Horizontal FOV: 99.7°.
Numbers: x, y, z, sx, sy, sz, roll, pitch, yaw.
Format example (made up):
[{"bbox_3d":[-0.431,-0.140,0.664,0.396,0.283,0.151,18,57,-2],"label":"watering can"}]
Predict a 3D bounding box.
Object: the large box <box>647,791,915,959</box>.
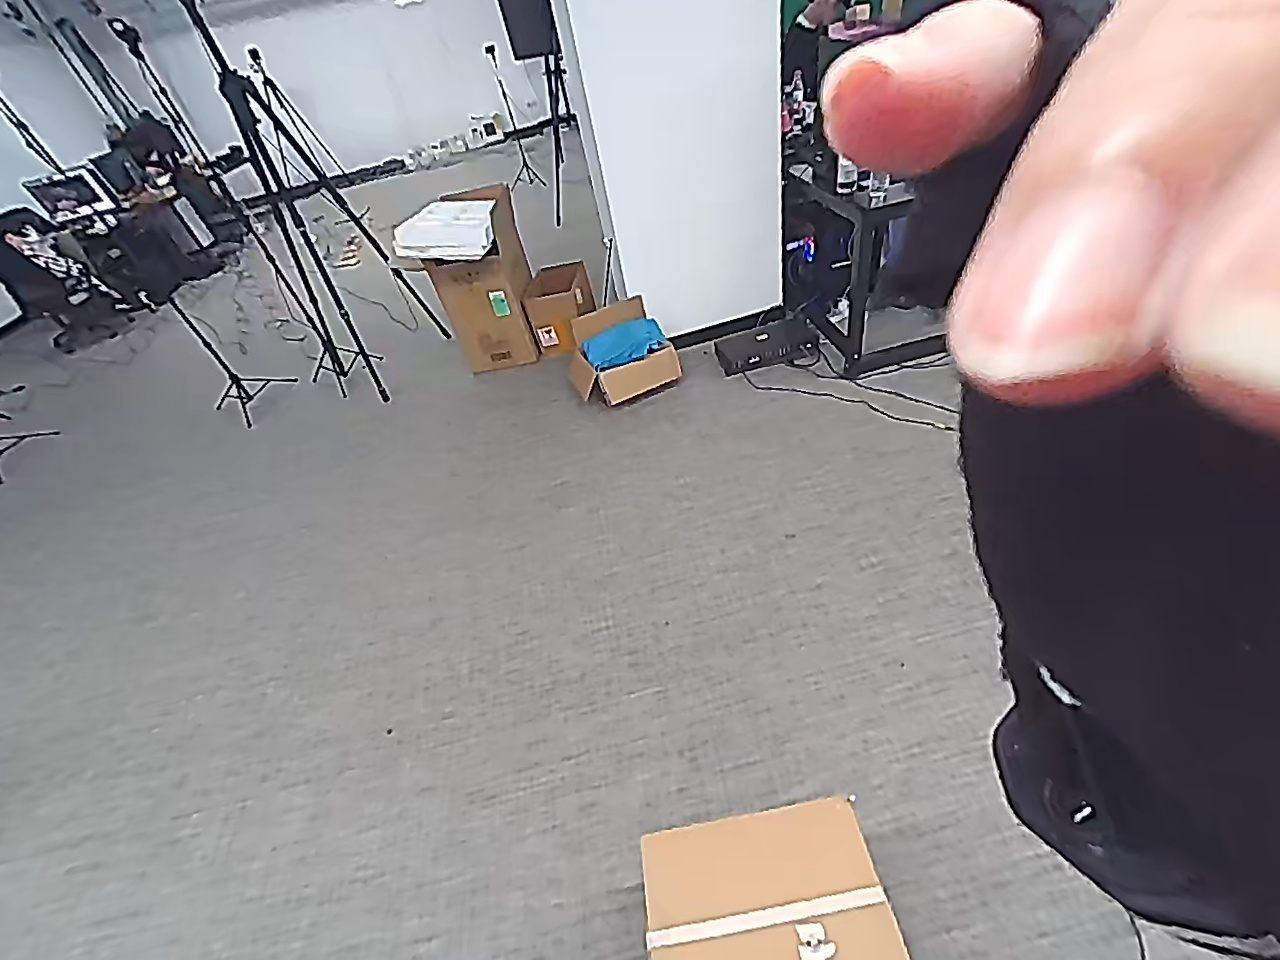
[{"bbox_3d":[0.251,0.843,1.016,0.408,0.320,0.320,-13,42,2],"label":"large box"}]
